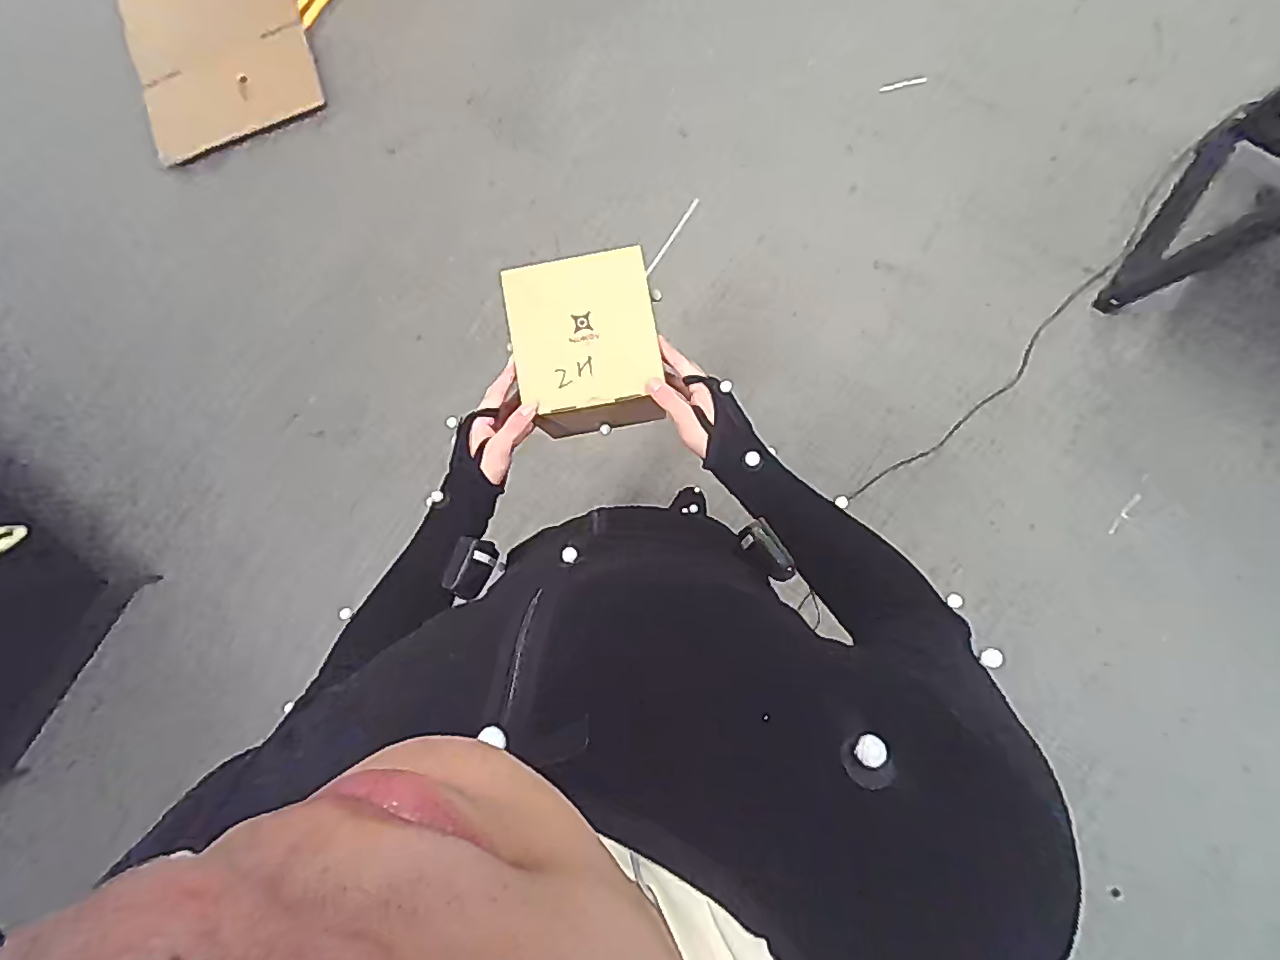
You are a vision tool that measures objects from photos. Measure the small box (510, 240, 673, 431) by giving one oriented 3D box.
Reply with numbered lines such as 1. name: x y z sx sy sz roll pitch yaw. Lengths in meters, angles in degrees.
1. small box: -0.054 -0.171 0.689 0.168 0.176 0.179 -10 86 2
